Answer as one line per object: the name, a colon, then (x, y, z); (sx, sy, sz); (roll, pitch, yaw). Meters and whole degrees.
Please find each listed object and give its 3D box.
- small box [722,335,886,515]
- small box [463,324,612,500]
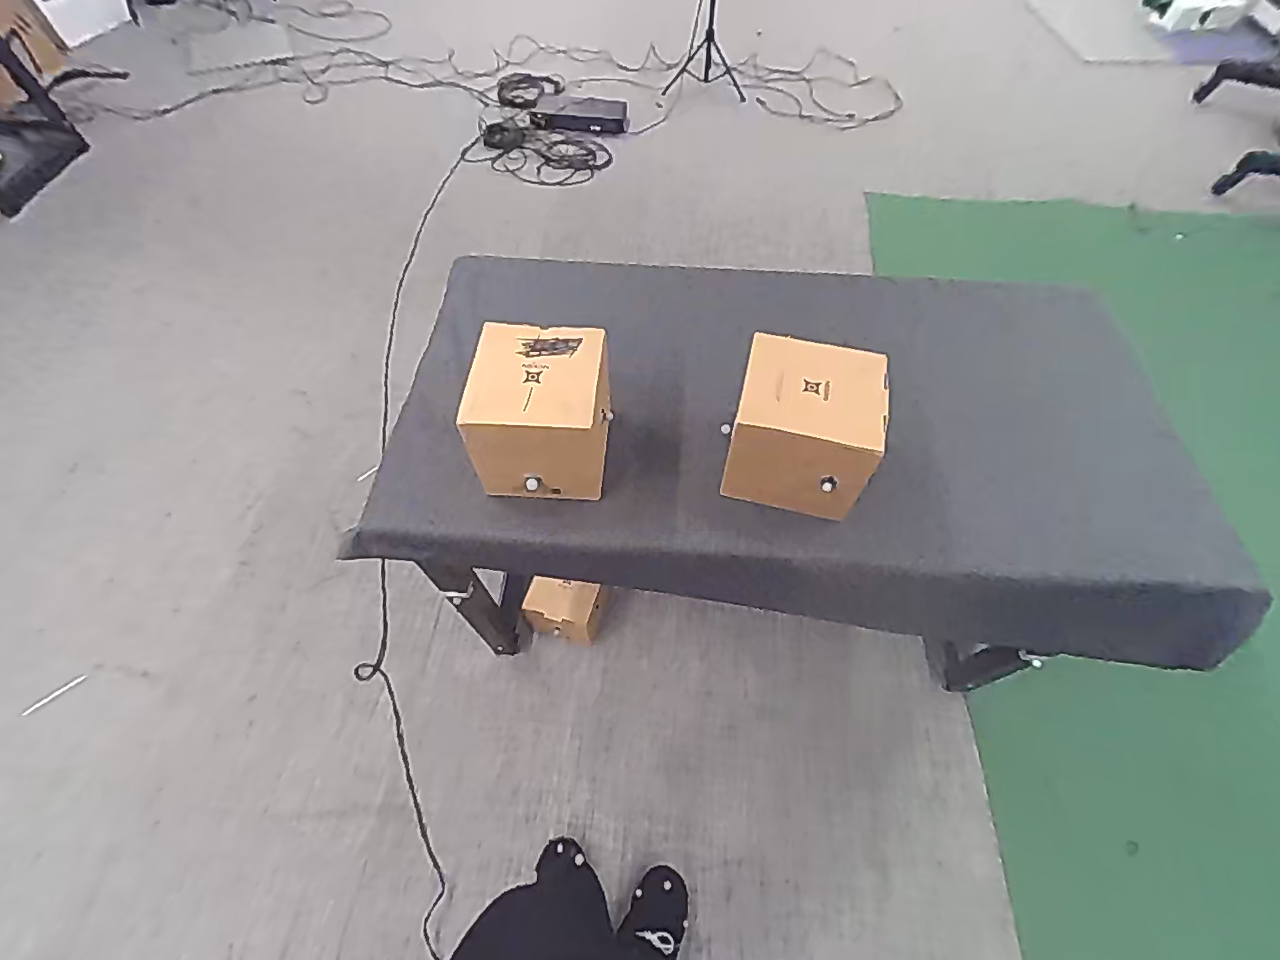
small box: (0.221, -0.069, 0.748); (0.179, 0.176, 0.168); (11, 57, 8)
small box: (-0.128, -0.092, 0.756); (0.168, 0.176, 0.179); (3, 57, 1)
